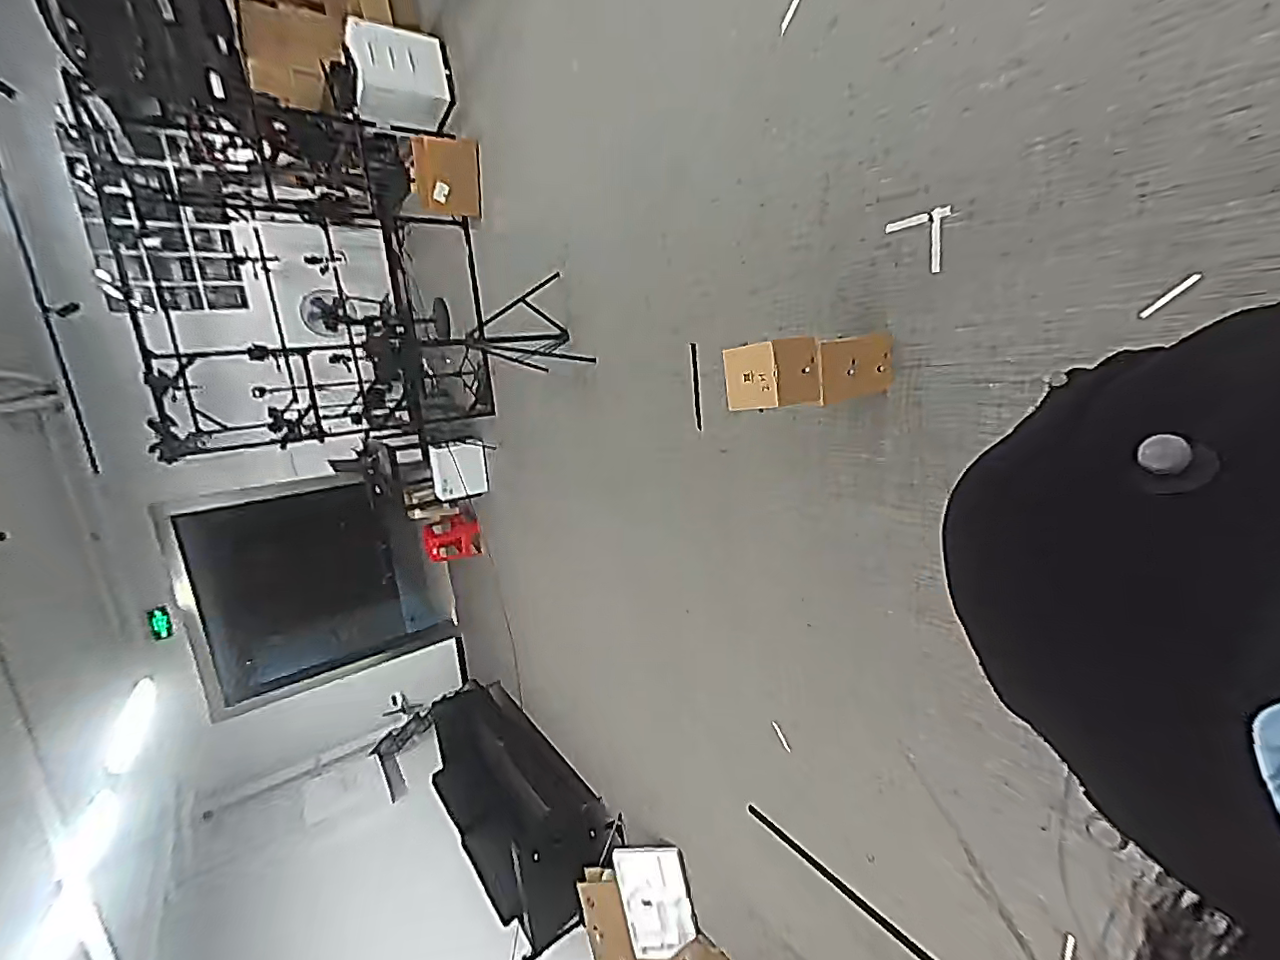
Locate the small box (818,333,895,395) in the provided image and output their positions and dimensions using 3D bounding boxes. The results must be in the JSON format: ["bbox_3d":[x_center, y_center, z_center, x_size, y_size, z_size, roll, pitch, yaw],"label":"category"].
[{"bbox_3d":[0.623,-0.339,1.592,0.179,0.176,0.168,11,110,54],"label":"small box"}]

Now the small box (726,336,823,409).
[{"bbox_3d":[0.352,-0.280,1.416,0.179,0.176,0.168,4,105,54],"label":"small box"}]
